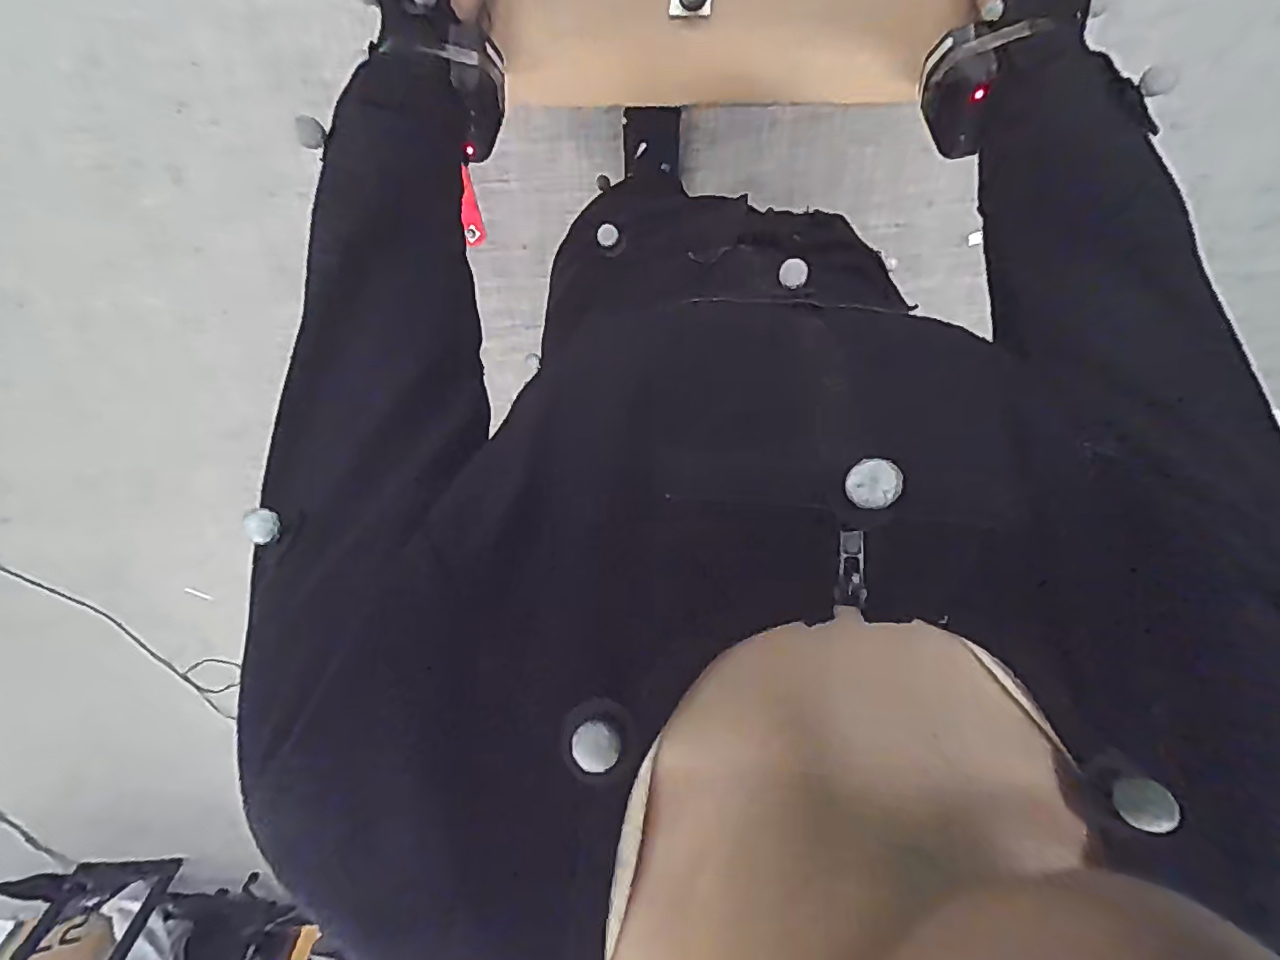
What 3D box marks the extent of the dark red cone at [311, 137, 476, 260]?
[{"bbox_3d":[-0.451,-0.476,0.949,0.202,0.394,0.201,-8,121,6],"label":"dark red cone"}]
